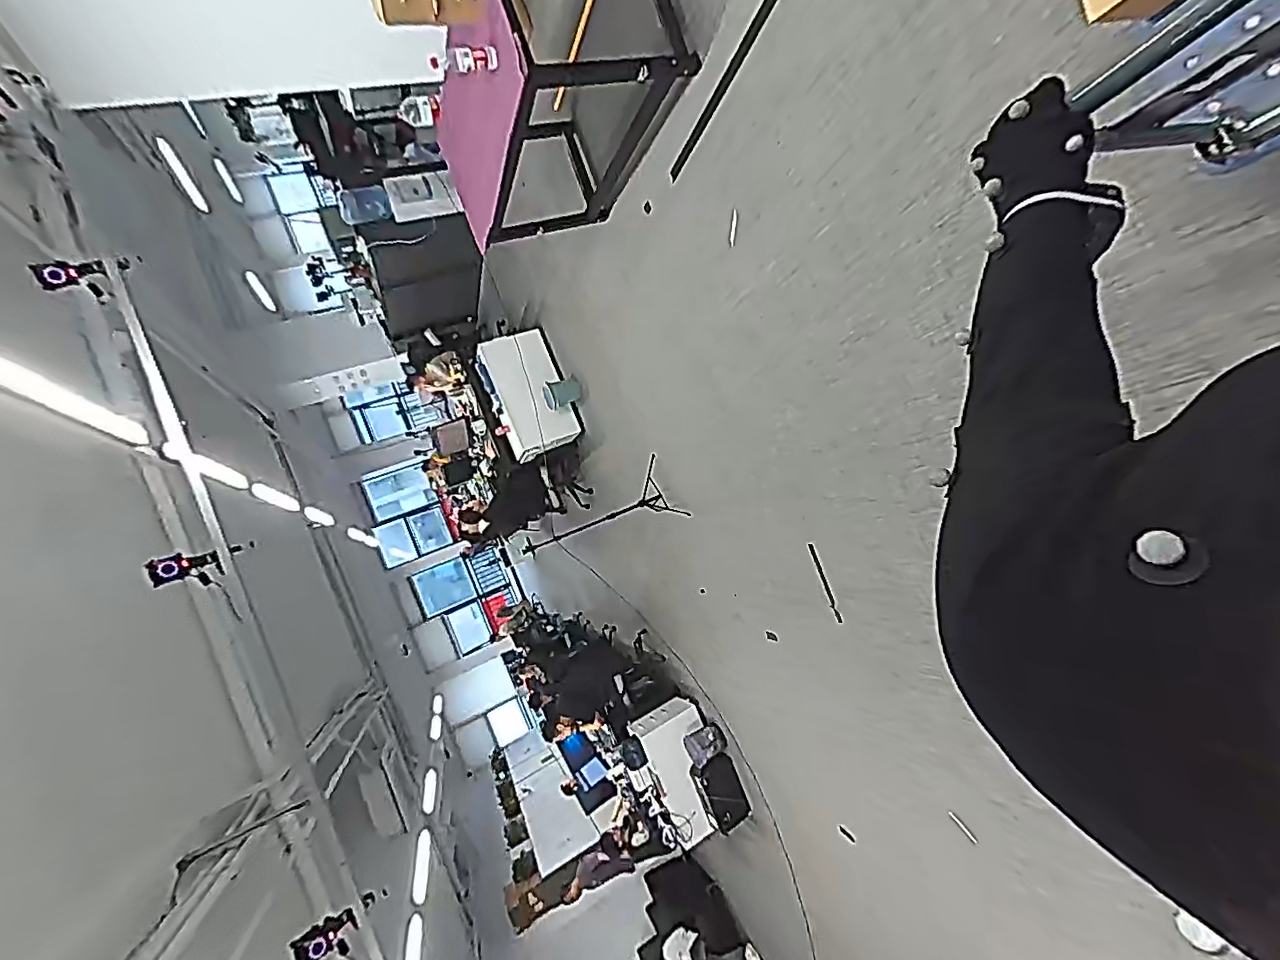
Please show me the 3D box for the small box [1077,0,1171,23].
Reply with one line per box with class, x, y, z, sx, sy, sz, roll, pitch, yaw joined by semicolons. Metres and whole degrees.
small box;0.774;-0.822;0.795;0.179;0.176;0.168;-9;101;66
